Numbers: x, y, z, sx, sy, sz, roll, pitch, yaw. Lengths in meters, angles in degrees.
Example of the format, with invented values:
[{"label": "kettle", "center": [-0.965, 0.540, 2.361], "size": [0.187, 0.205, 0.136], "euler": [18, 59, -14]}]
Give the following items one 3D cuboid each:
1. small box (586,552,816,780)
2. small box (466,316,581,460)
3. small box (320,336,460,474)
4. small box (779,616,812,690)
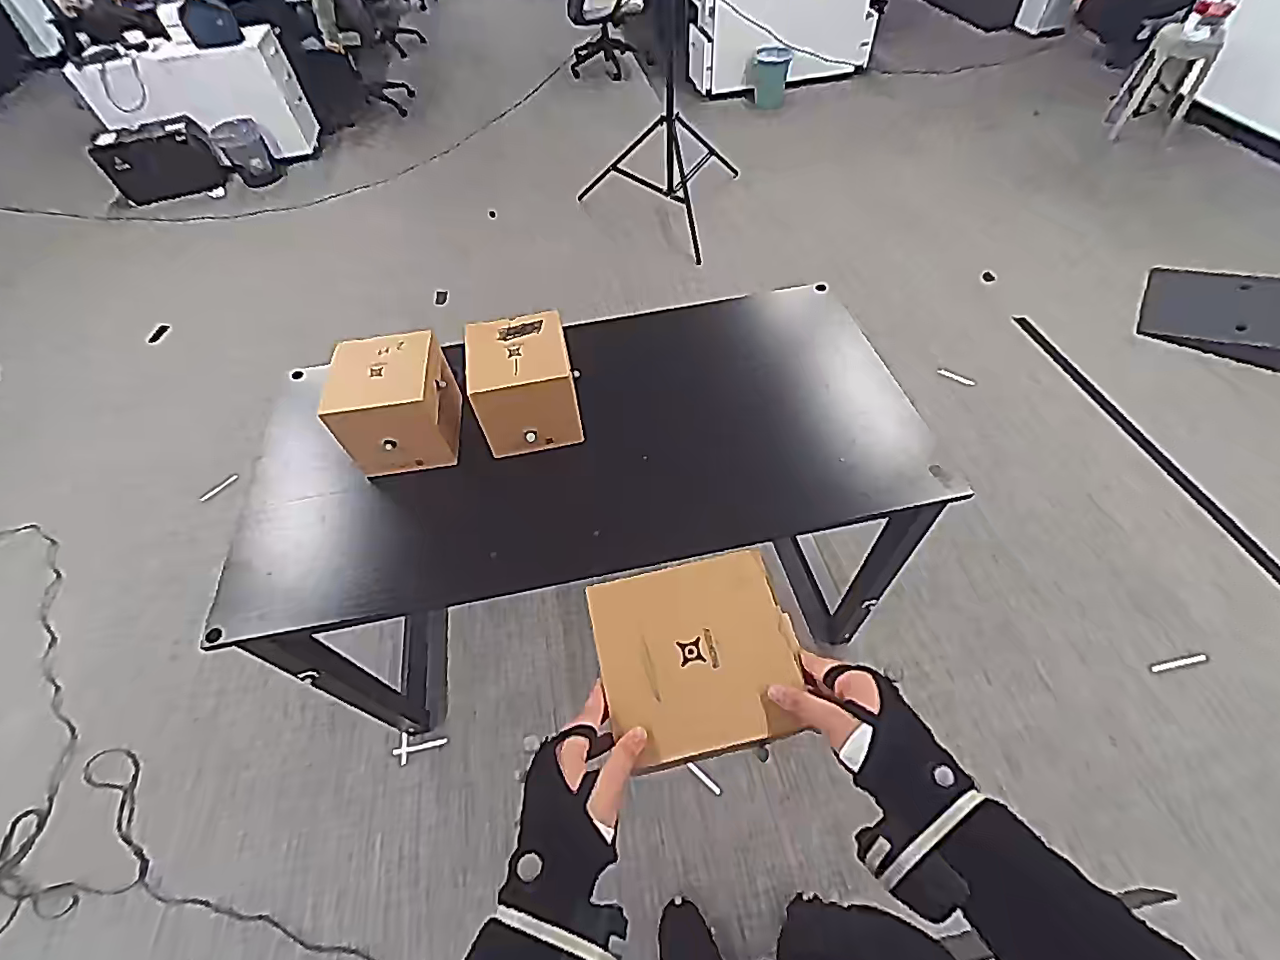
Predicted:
[{"label": "small box", "center": [0.052, 0.196, 0.557], "size": [0.179, 0.176, 0.168], "euler": [-14, 59, -3]}, {"label": "small box", "center": [-0.206, -0.163, 0.970], "size": [0.168, 0.176, 0.179], "euler": [-11, 54, -4]}, {"label": "small box", "center": [-0.427, -0.125, 0.958], "size": [0.168, 0.176, 0.179], "euler": [-8, 53, -3]}, {"label": "small box", "center": [0.310, 0.471, 1.368], "size": [0.168, 0.176, 0.179], "euler": [-12, 53, -4]}]
